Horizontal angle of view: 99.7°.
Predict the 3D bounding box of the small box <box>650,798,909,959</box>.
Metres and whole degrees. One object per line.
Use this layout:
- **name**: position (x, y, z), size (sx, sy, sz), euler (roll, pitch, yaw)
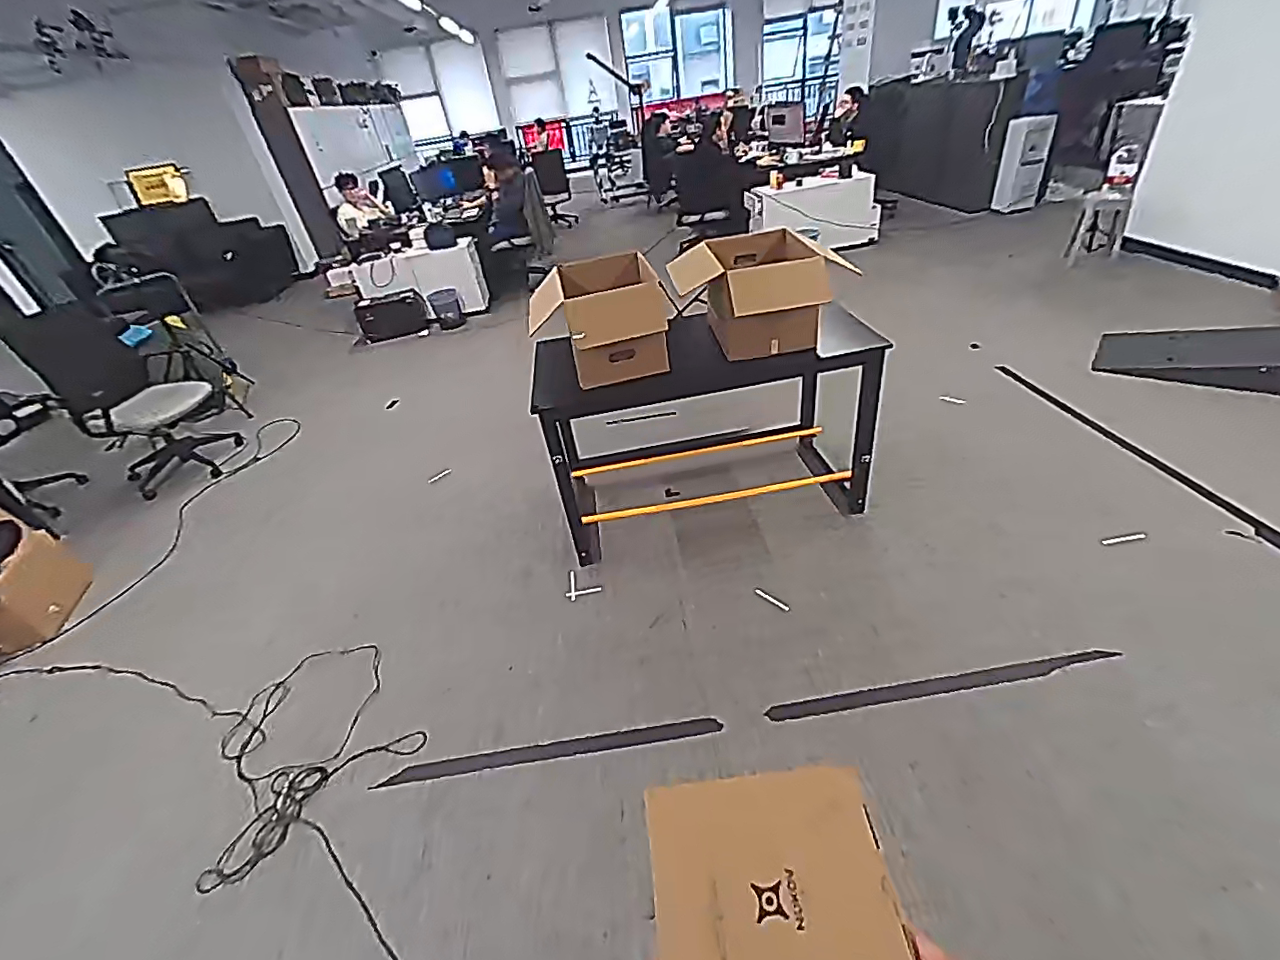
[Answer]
- **small box**: position (0.107, 0.385, 0.451), size (0.179, 0.176, 0.168), euler (-8, 47, -1)
